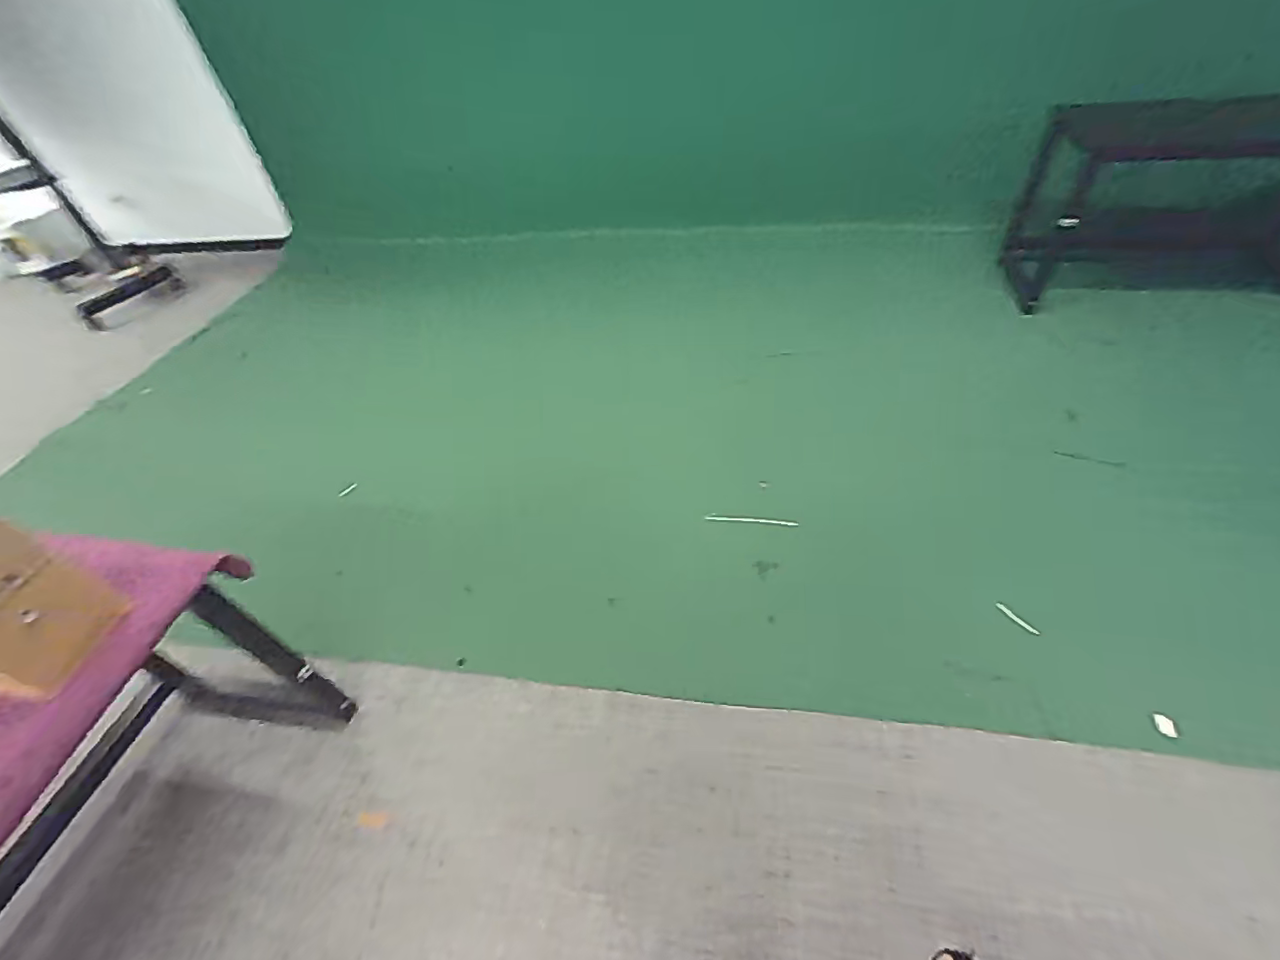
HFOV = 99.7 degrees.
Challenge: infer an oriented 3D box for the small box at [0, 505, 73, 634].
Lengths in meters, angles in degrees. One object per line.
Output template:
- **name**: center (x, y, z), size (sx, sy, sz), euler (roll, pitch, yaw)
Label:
- **small box**: center (-1.021, 0.127, 0.786), size (0.179, 0.176, 0.168), euler (2, 49, 11)

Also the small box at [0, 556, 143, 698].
- **small box**: center (-1.001, 0.240, 0.904), size (0.168, 0.176, 0.179), euler (2, 49, 10)
